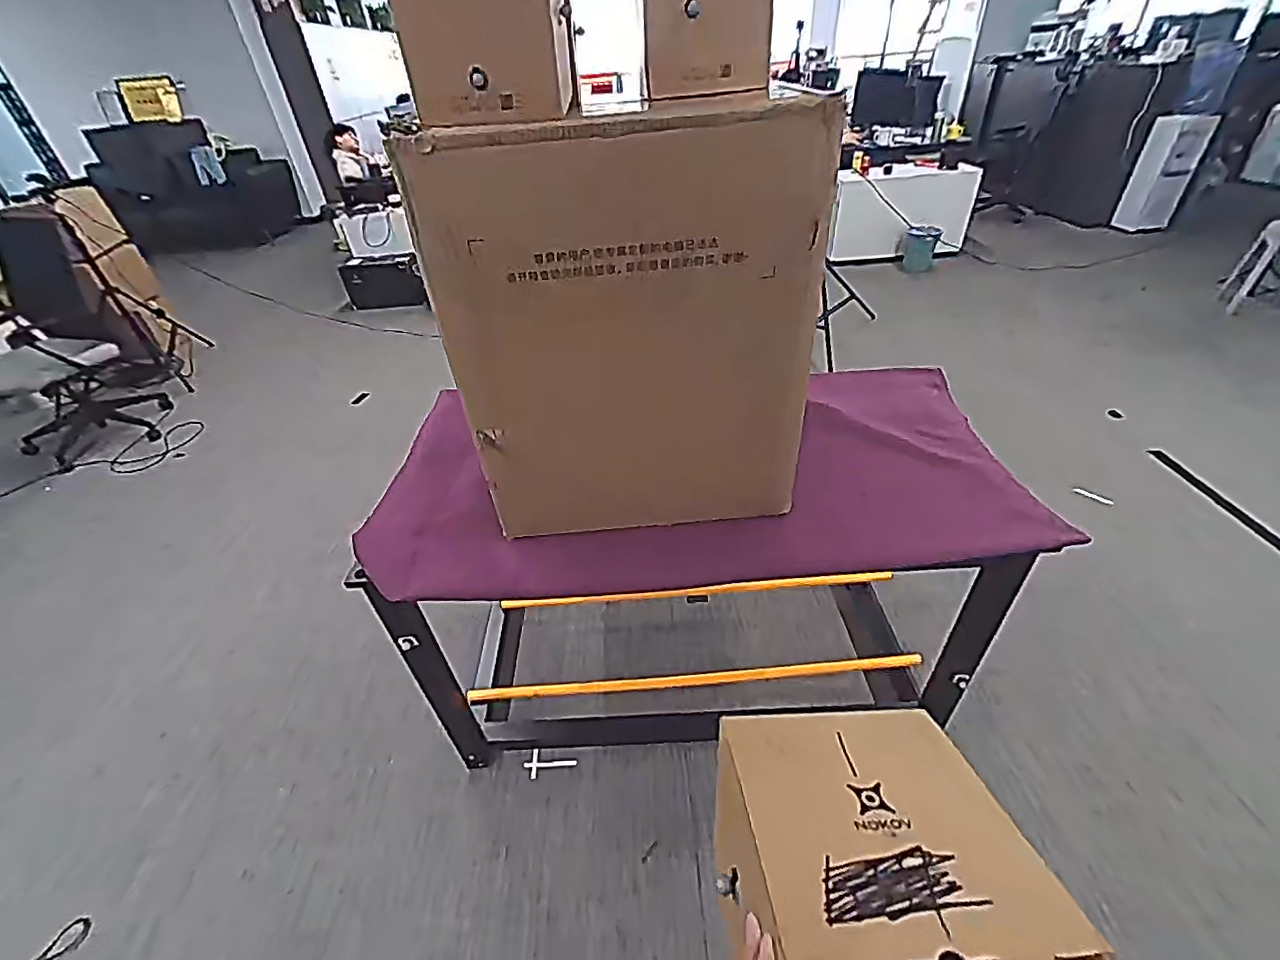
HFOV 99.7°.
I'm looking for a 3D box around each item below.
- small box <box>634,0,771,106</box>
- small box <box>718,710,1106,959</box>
[{"bbox_3d":[0.082,-0.628,0.748,0.168,0.176,0.179,-7,37,-1],"label":"small box"},{"bbox_3d":[0.149,0.287,0.367,0.168,0.176,0.179,-1,18,-2],"label":"small box"}]
